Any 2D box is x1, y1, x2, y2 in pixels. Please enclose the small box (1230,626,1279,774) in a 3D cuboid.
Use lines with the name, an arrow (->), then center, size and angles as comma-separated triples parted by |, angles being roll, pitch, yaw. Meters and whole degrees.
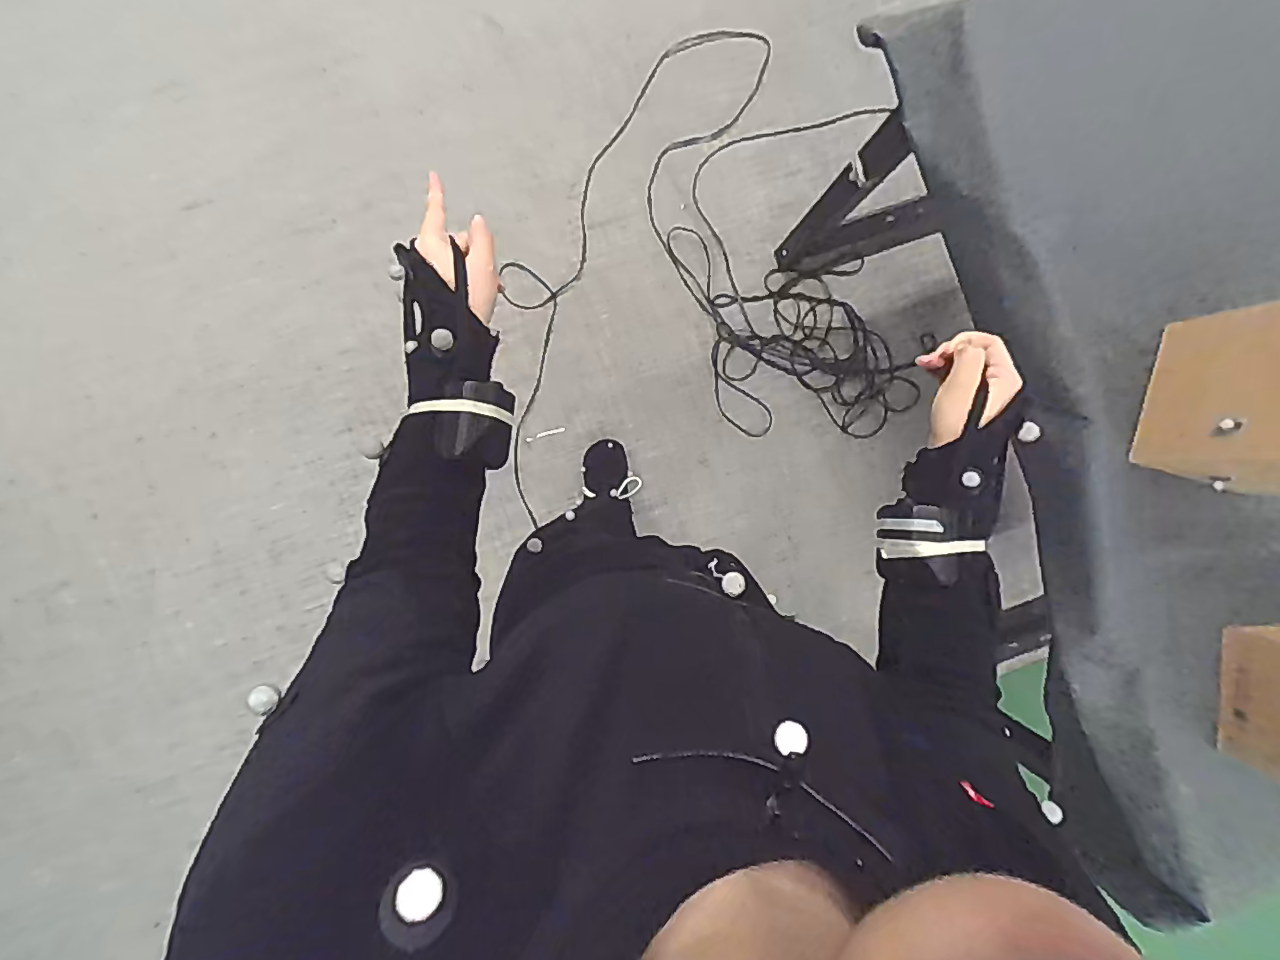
small box -> 0.835, 0.269, 0.609 | 0.179, 0.176, 0.168 | -1, 93, -6
